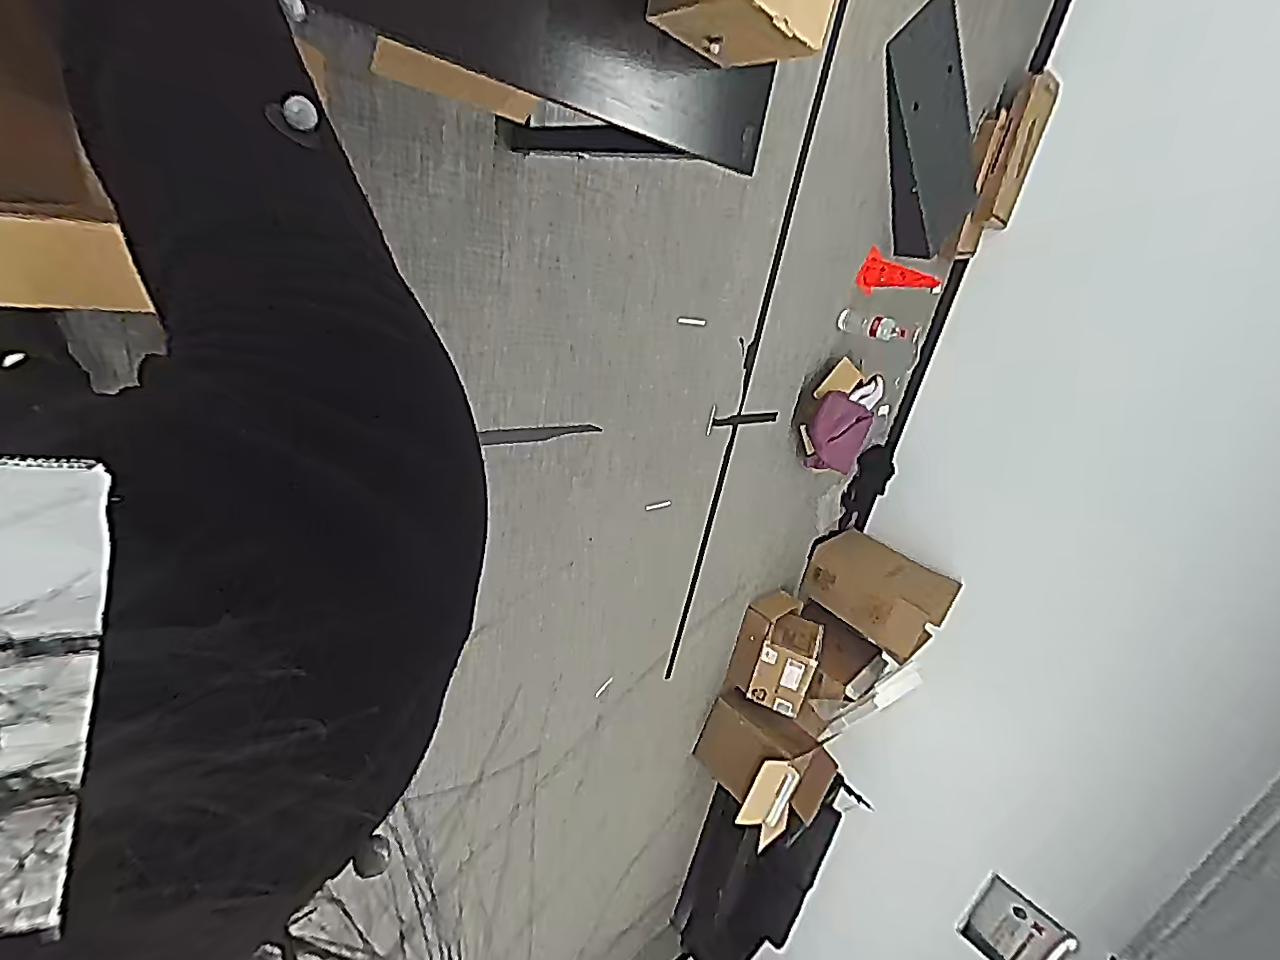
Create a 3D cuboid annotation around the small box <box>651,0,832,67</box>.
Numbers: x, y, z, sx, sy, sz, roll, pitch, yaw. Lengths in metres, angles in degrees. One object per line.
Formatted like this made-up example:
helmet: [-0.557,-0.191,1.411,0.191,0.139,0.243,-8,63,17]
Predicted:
small box: [0.134,-0.652,0.672,0.168,0.176,0.179,-9,119,-42]
